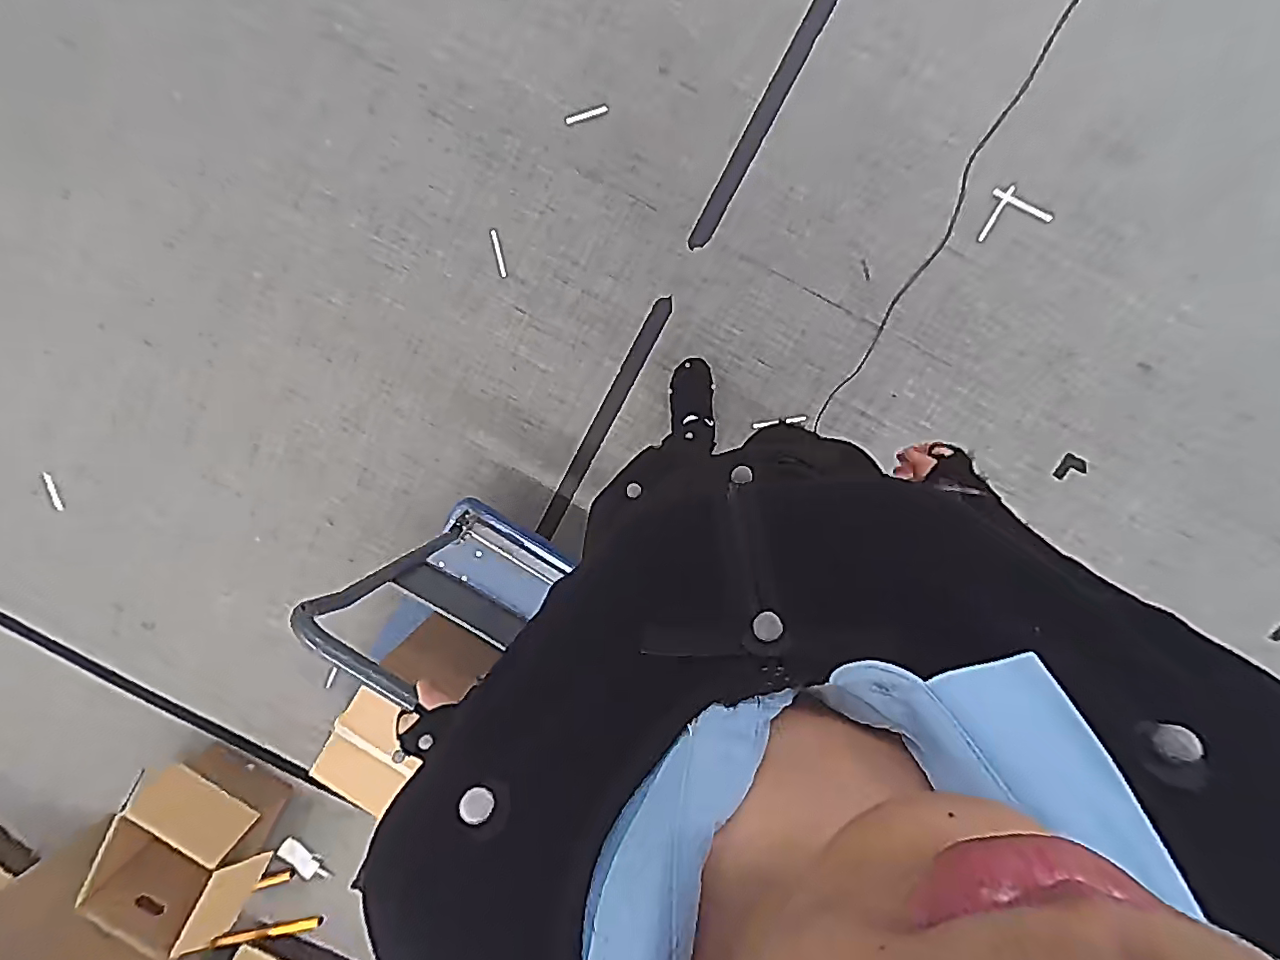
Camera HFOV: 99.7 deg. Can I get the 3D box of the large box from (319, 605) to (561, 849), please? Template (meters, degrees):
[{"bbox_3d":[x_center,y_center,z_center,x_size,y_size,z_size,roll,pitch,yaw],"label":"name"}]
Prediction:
[{"bbox_3d":[-0.463,0.580,1.329,0.408,0.320,0.320,33,102,-3],"label":"large box"}]
